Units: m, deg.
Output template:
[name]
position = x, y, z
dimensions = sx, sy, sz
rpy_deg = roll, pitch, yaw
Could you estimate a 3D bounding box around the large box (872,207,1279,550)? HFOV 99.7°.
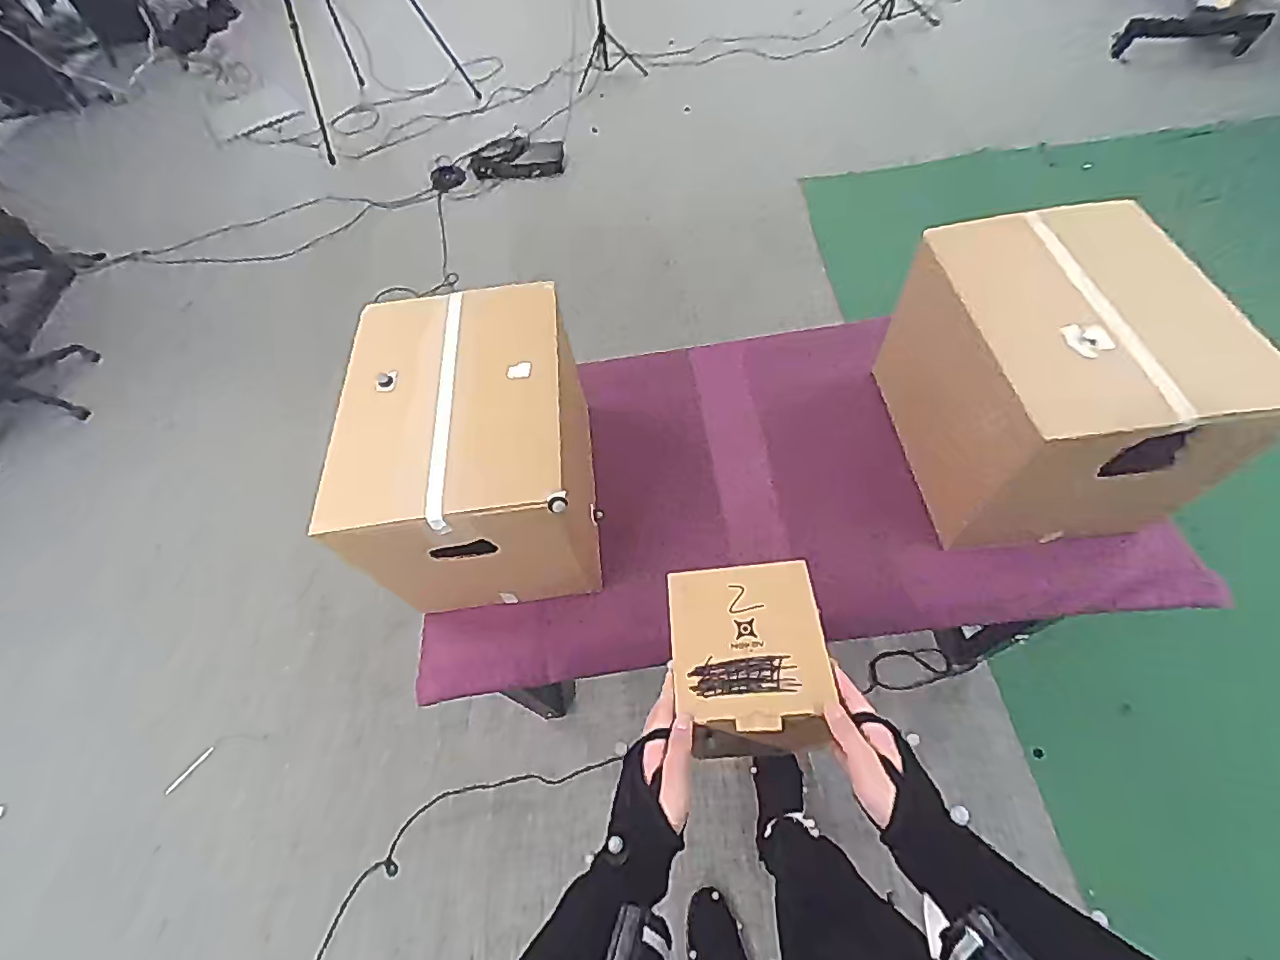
[large box]
position = 0.612, -0.148, 0.839
dimensions = 0.320, 0.320, 0.408
rpy_deg = -8, 59, 3
